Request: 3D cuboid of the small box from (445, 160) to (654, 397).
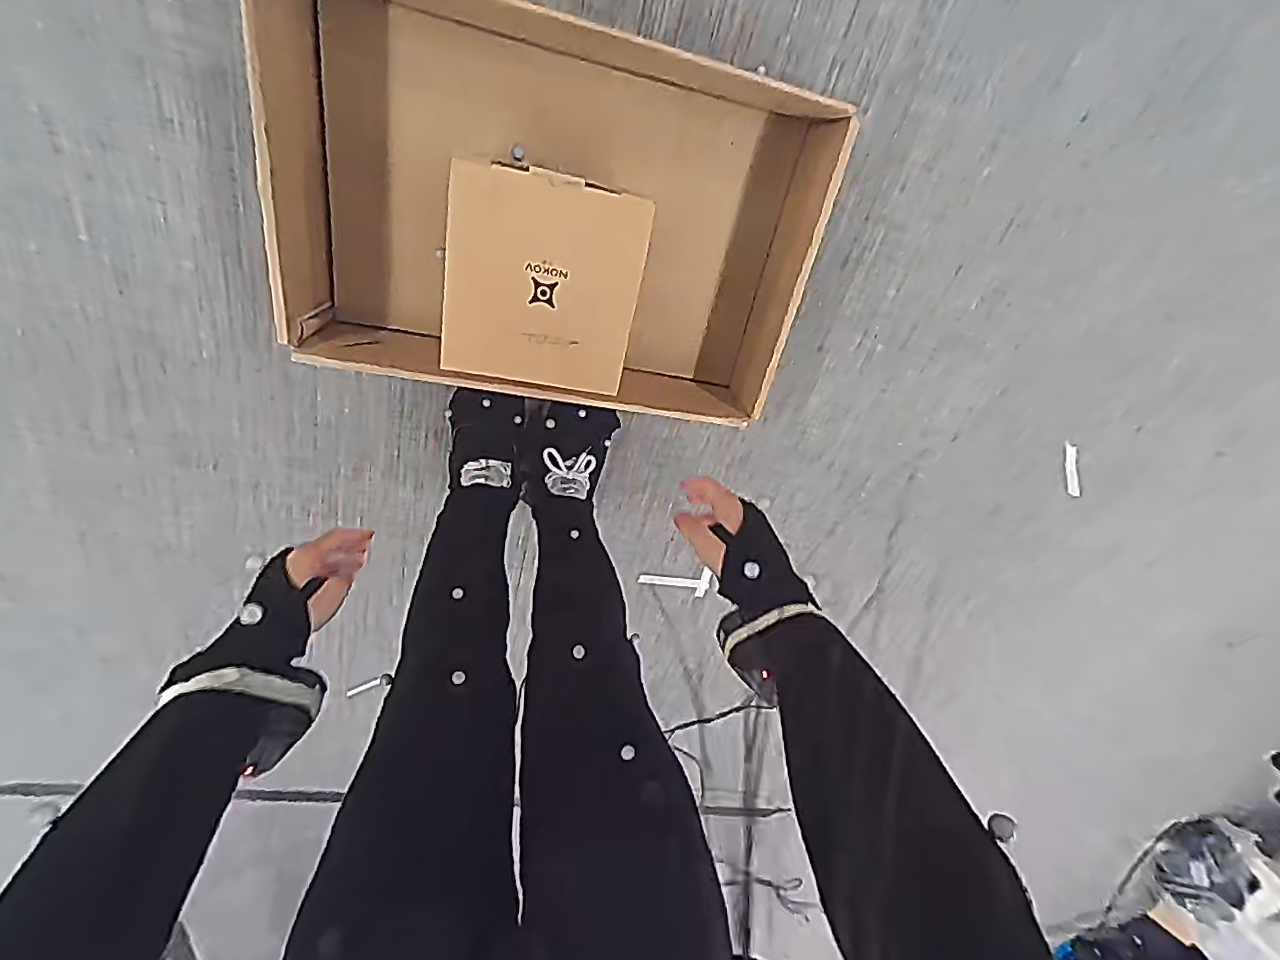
[{"bbox_3d":[-0.094,-0.206,0.544,0.168,0.176,0.179,7,120,-12],"label":"small box"}]
